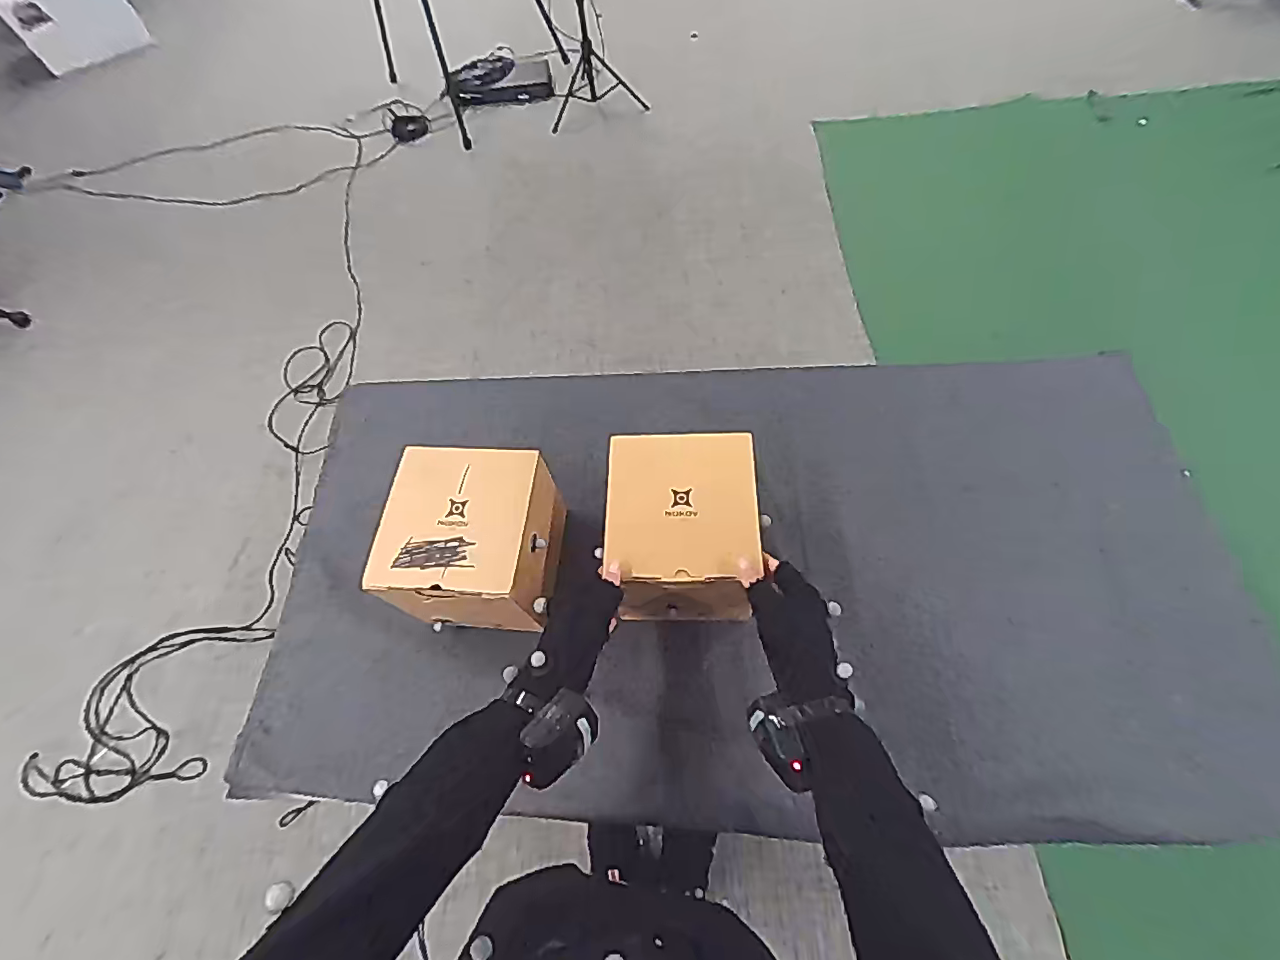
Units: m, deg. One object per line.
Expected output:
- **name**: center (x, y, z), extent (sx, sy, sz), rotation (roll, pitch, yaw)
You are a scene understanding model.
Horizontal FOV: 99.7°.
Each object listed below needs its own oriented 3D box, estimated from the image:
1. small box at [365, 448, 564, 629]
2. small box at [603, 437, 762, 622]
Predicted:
- **small box**: center (-0.198, 0.079, 0.672), extent (0.168, 0.176, 0.179), rotation (2, 61, 6)
- **small box**: center (0.051, 0.065, 0.661), extent (0.168, 0.176, 0.179), rotation (-1, 62, 5)
